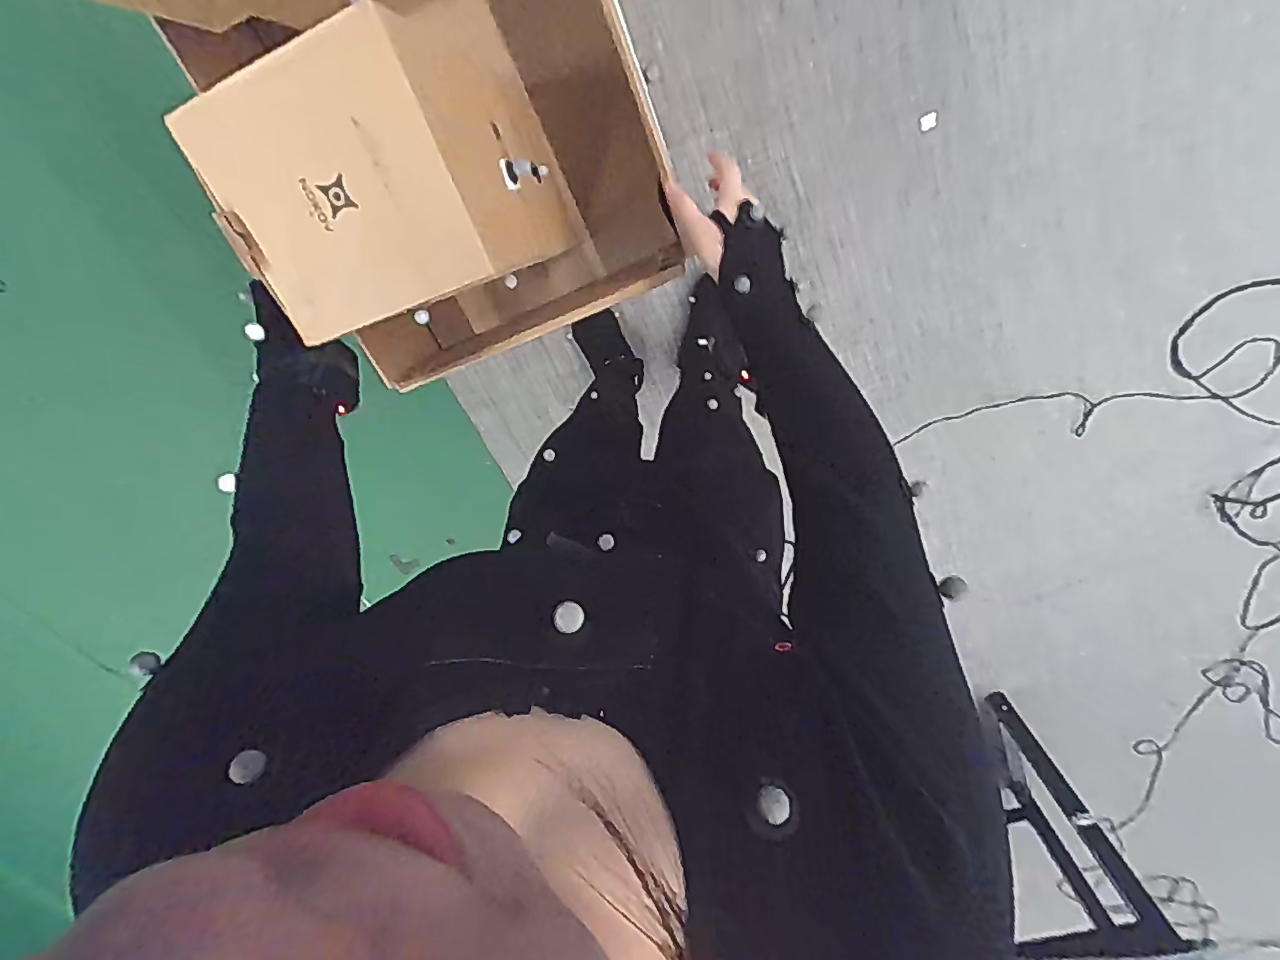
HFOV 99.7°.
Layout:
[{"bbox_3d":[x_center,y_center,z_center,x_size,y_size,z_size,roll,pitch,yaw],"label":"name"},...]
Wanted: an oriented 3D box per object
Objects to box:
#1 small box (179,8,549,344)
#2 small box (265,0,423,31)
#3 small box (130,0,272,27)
[{"bbox_3d":[-0.201,-0.236,0.450,0.179,0.176,0.168,-15,117,15],"label":"small box"},{"bbox_3d":[-0.279,-0.534,0.478,0.179,0.176,0.168,-16,119,16],"label":"small box"},{"bbox_3d":[-0.322,-0.437,0.351,0.179,0.176,0.168,-12,118,13],"label":"small box"}]
